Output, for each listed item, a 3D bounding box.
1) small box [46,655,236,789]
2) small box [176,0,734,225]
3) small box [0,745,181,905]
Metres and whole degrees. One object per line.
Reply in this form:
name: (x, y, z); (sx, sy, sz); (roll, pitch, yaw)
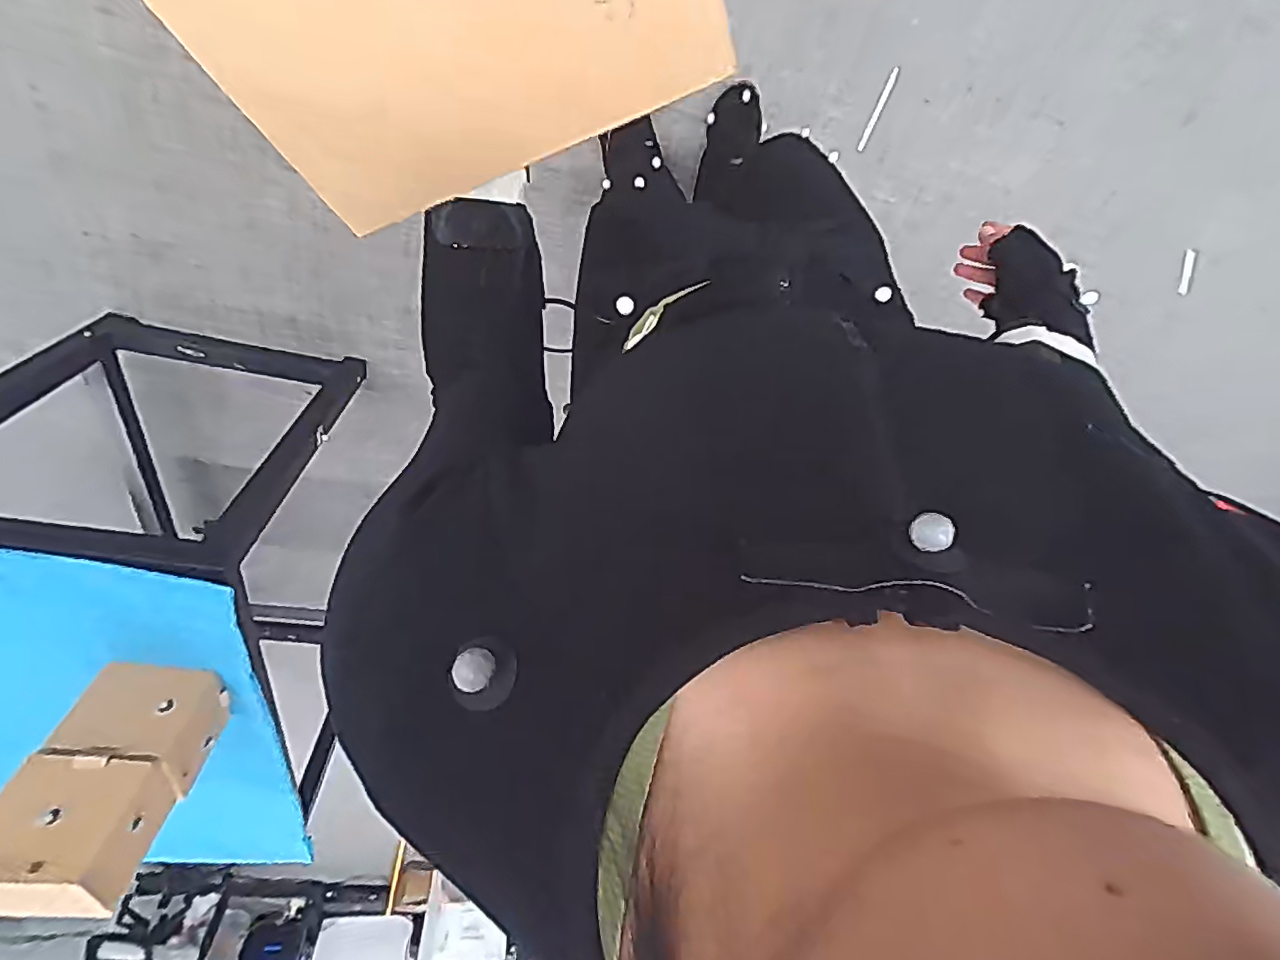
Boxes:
small box: (-0.880, 0.441, 0.973); (0.179, 0.176, 0.168); (10, 127, -13)
small box: (-0.072, -0.236, 0.189); (0.168, 0.176, 0.179); (-14, 145, 15)
small box: (-0.874, 0.539, 0.841); (0.168, 0.176, 0.179); (12, 130, -13)
